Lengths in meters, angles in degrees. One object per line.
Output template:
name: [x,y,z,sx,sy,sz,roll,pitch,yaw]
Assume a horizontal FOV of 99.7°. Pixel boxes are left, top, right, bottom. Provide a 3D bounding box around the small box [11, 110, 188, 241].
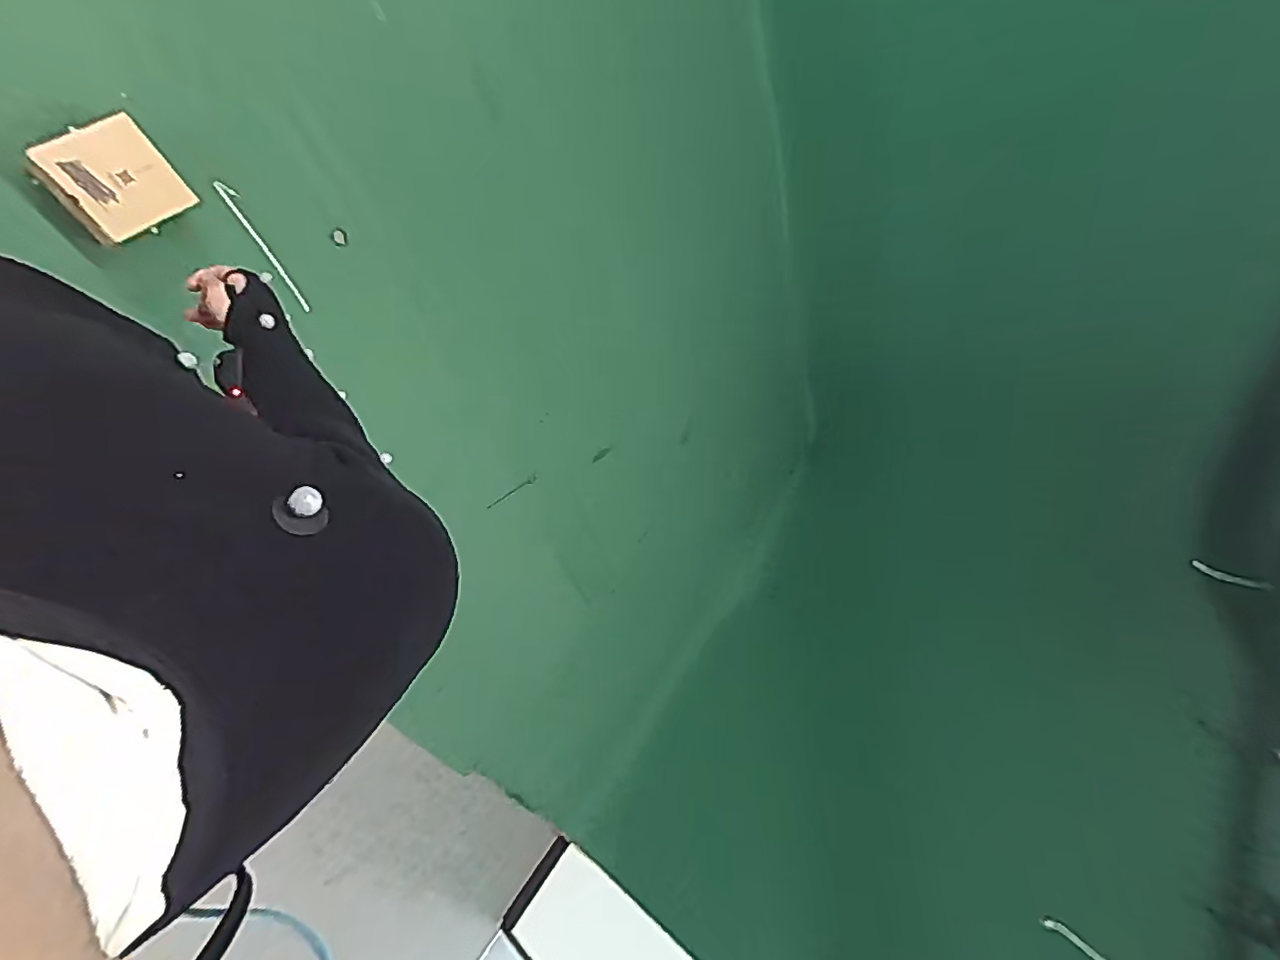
small box: [-1.045,-0.583,1.052,0.179,0.176,0.168,-50,137,-26]
